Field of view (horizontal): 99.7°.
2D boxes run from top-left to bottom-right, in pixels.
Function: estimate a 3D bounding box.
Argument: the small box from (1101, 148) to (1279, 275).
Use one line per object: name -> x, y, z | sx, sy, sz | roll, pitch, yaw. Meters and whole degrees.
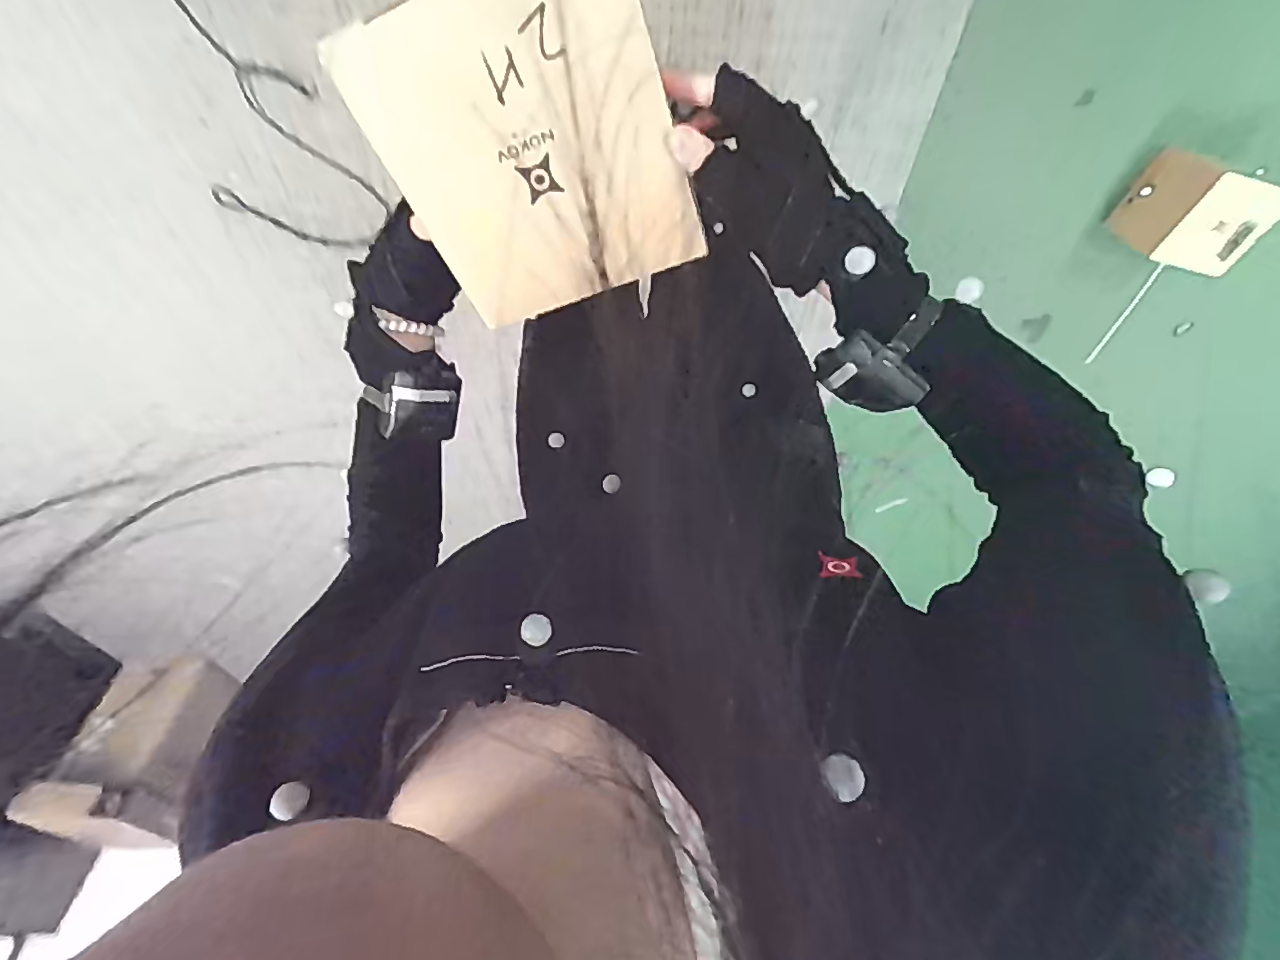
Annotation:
small box -> 1.109, -0.545, 1.093 | 0.179, 0.176, 0.168 | 10, 135, -8
